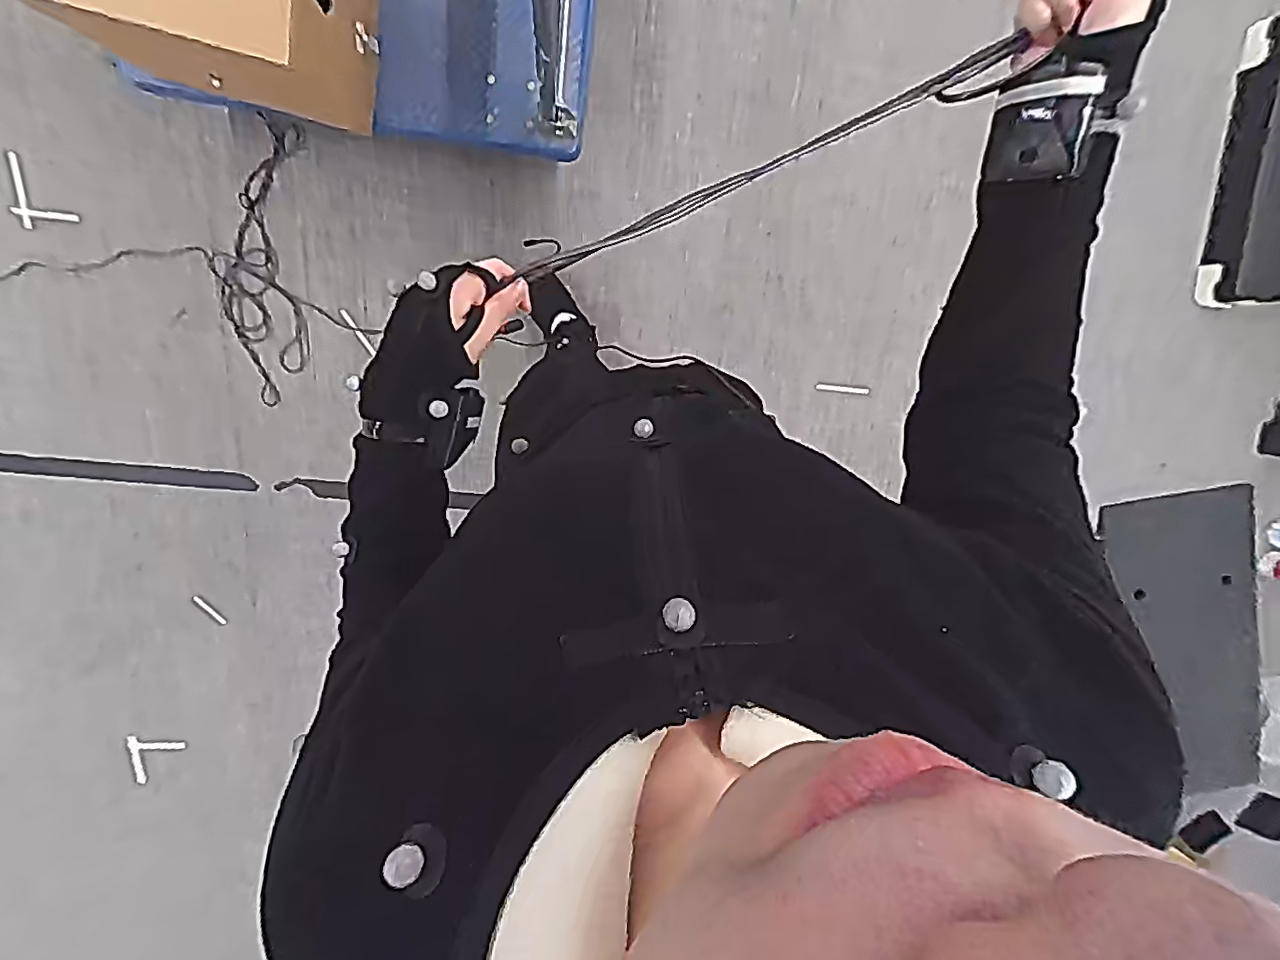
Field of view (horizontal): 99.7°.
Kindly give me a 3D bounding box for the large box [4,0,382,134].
[{"bbox_3d":[-0.678,-0.815,0.866,0.408,0.320,0.320,11,104,-8],"label":"large box"}]
